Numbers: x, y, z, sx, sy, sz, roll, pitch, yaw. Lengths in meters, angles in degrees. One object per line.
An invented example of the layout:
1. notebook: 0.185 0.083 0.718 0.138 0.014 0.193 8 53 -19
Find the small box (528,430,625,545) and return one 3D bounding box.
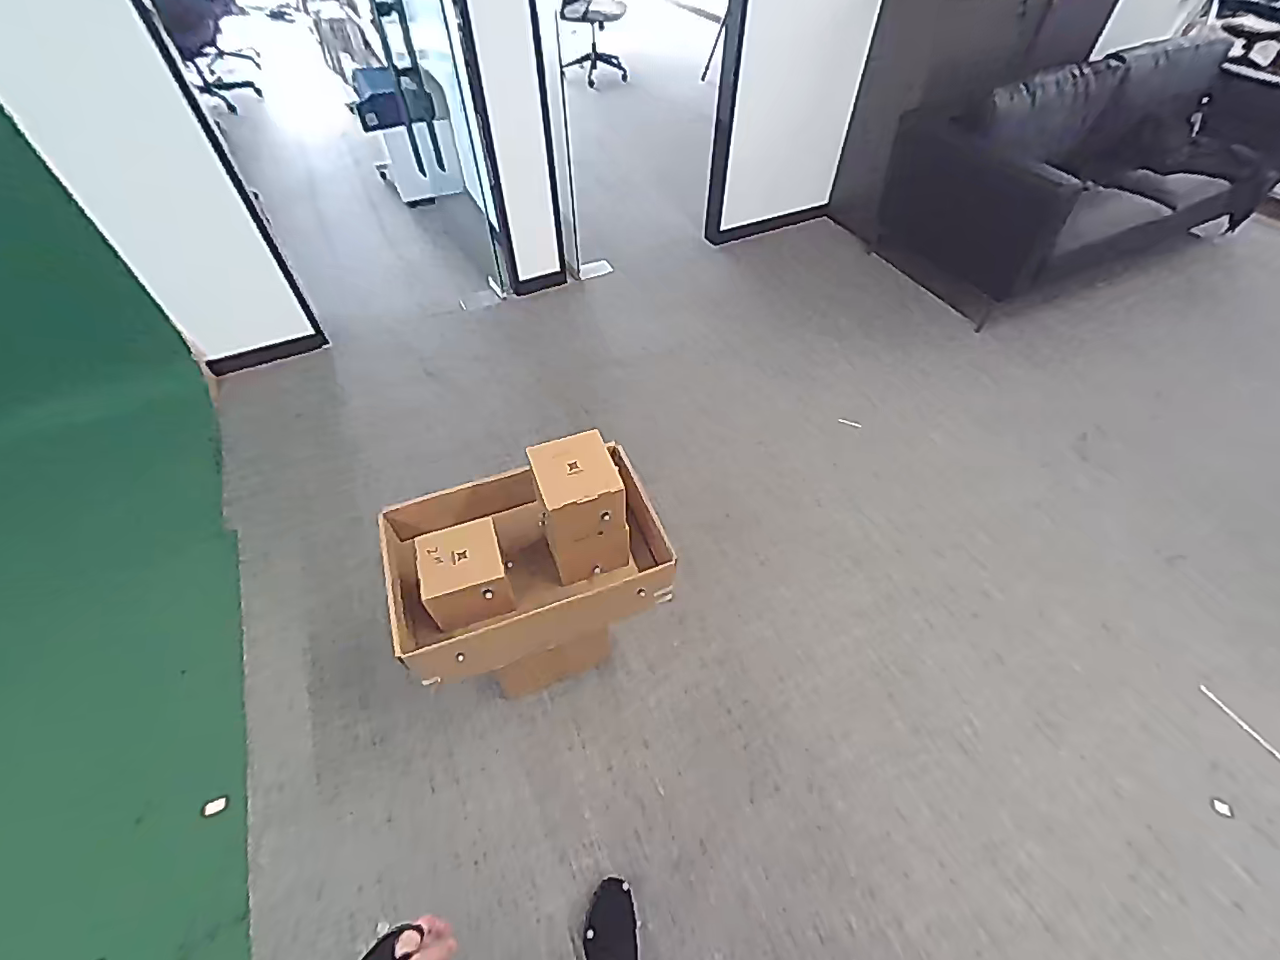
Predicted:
1. small box: -0.134 0.024 1.185 0.168 0.176 0.179 -16 54 -14
